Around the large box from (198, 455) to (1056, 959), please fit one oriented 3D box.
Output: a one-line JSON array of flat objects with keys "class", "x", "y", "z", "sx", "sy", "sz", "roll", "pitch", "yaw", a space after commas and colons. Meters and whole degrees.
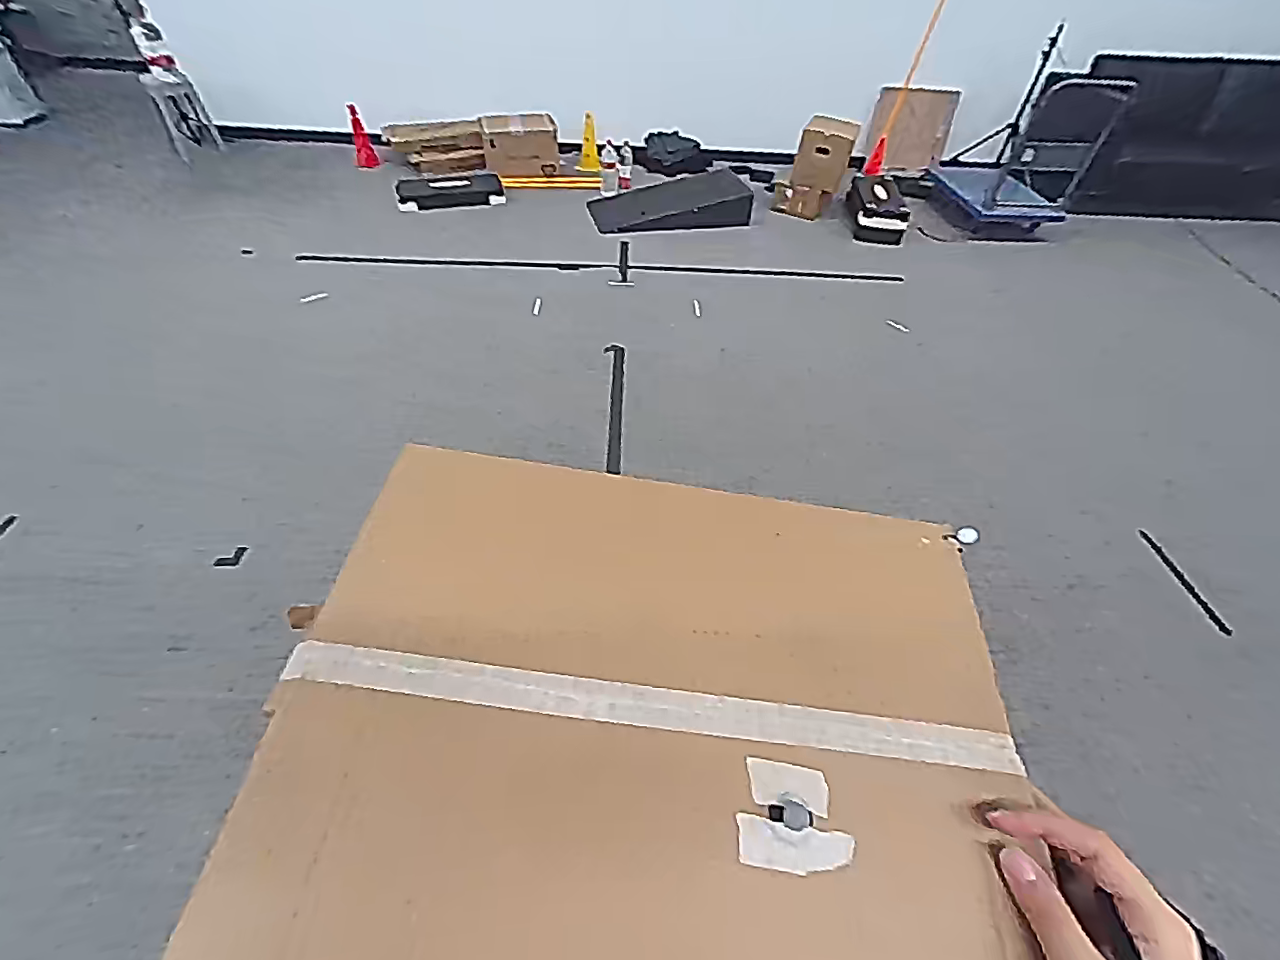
[{"class": "large box", "x": -0.001, "y": 0.218, "z": 0.433, "sx": 0.408, "sy": 0.320, "sz": 0.320, "roll": 10, "pitch": 54, "yaw": -3}]
